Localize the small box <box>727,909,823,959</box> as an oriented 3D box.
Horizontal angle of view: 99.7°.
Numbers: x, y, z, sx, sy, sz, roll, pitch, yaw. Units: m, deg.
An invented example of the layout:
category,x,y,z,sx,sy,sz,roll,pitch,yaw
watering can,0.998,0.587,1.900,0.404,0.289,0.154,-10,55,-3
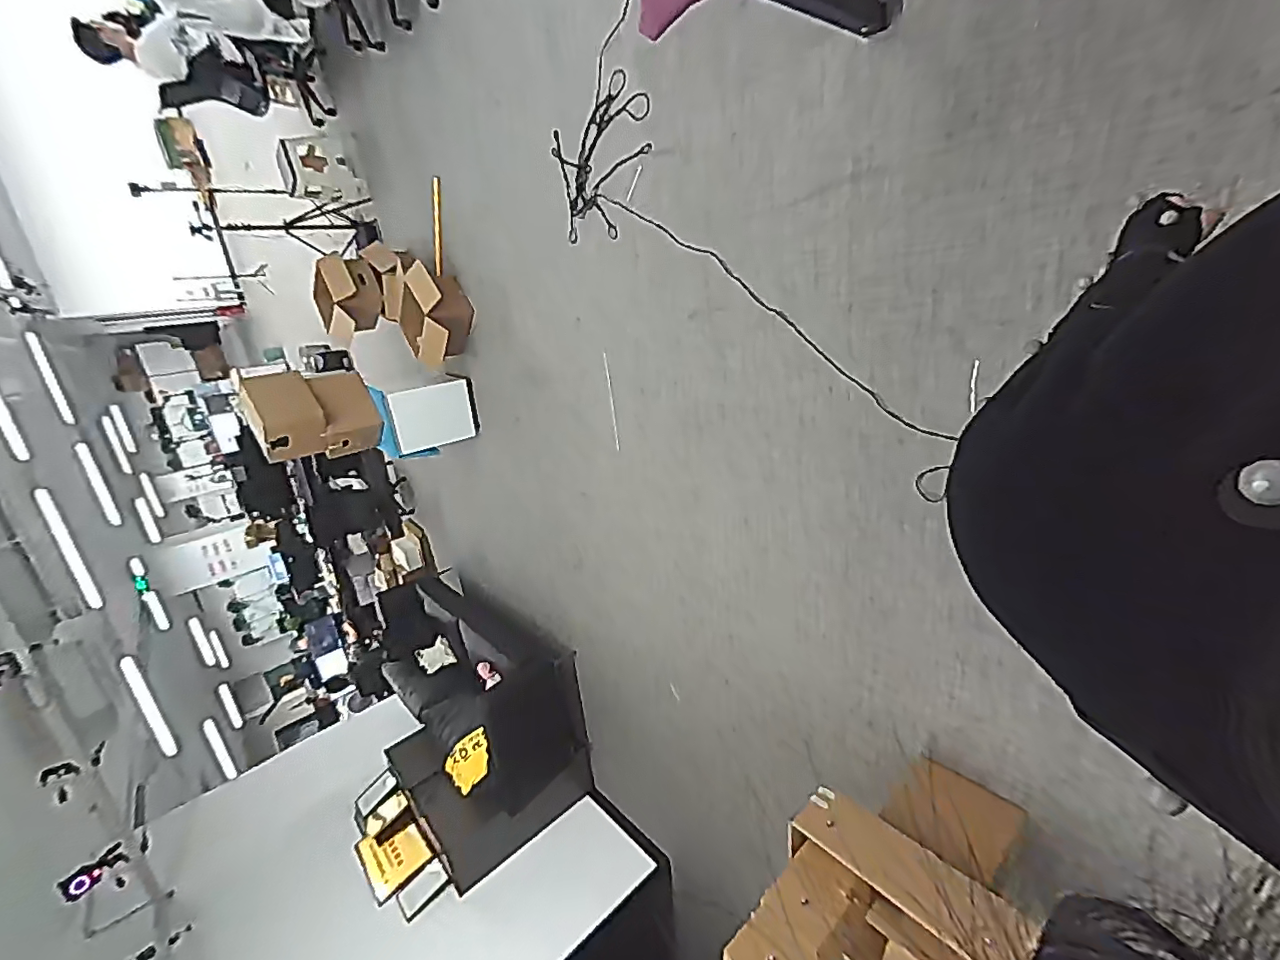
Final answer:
category,x,y,z,sx,sy,sz,roll,pitch,yaw
small box,0.343,1.256,1.384,0.179,0.176,0.168,21,122,45
